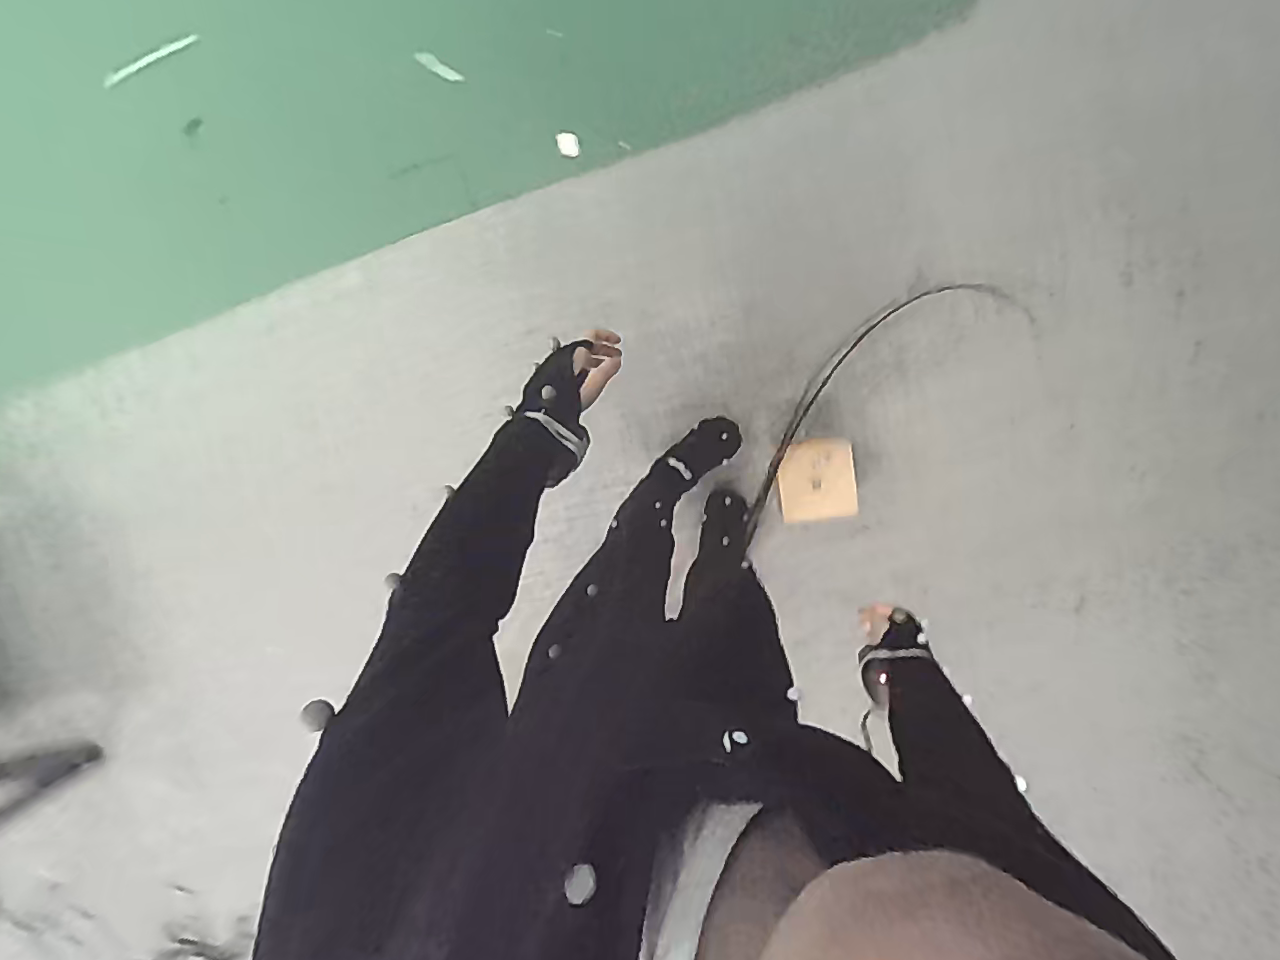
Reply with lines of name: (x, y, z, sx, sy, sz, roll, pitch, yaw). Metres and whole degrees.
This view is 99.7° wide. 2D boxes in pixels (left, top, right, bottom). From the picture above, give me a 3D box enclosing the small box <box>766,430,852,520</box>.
small box: (0.397, -0.017, 1.286, 0.168, 0.176, 0.179, -8, 99, 10)
